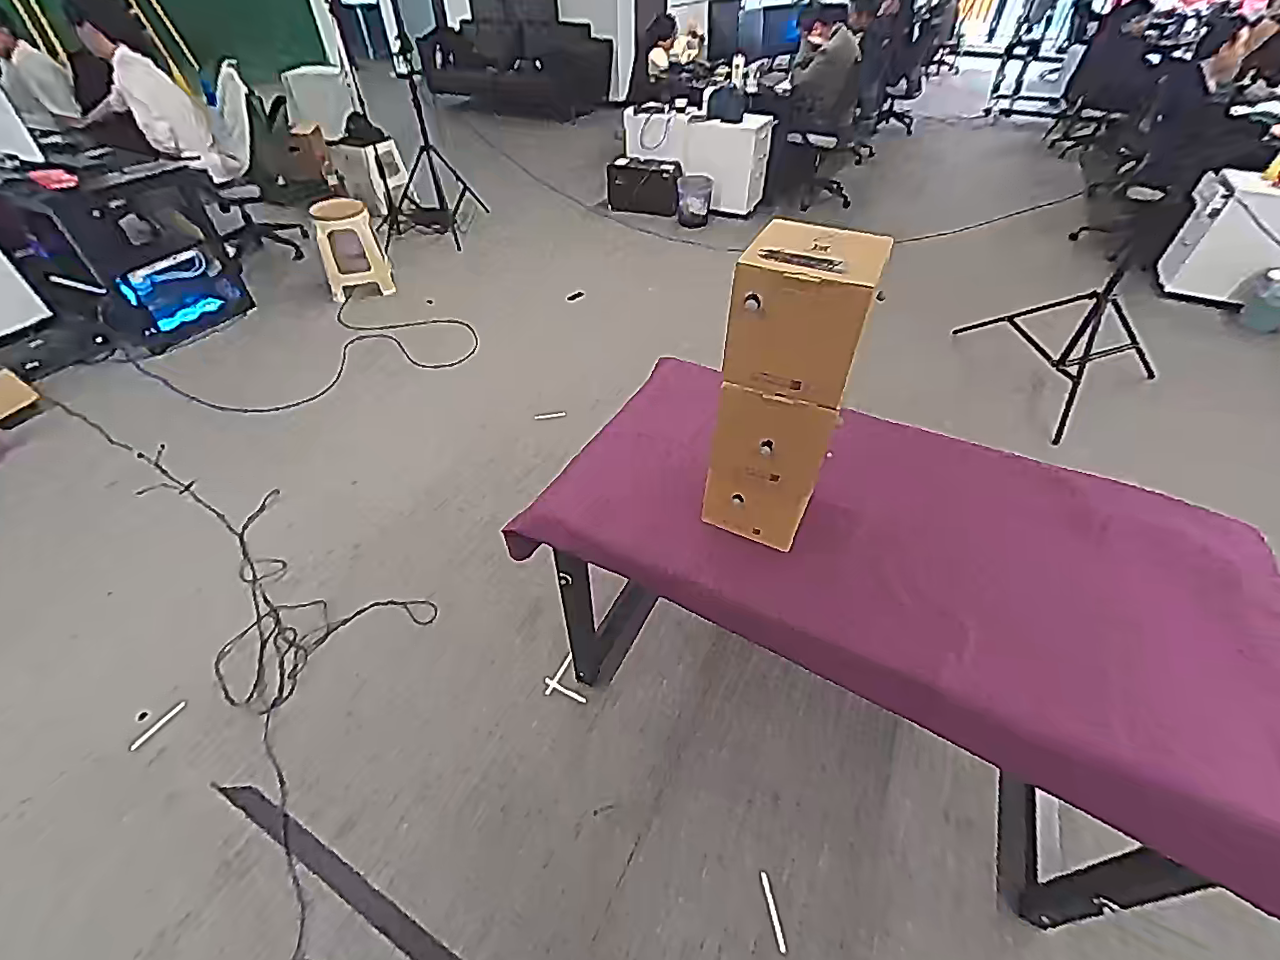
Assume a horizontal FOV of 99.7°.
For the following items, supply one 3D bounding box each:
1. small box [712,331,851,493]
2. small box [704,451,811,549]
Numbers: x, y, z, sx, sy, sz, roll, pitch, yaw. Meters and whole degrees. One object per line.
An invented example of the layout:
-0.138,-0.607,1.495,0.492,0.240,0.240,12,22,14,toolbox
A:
0.218,-0.106,0.854,0.168,0.176,0.179,17,47,15,small box
0.224,-0.004,0.984,0.168,0.176,0.179,20,48,19,small box
